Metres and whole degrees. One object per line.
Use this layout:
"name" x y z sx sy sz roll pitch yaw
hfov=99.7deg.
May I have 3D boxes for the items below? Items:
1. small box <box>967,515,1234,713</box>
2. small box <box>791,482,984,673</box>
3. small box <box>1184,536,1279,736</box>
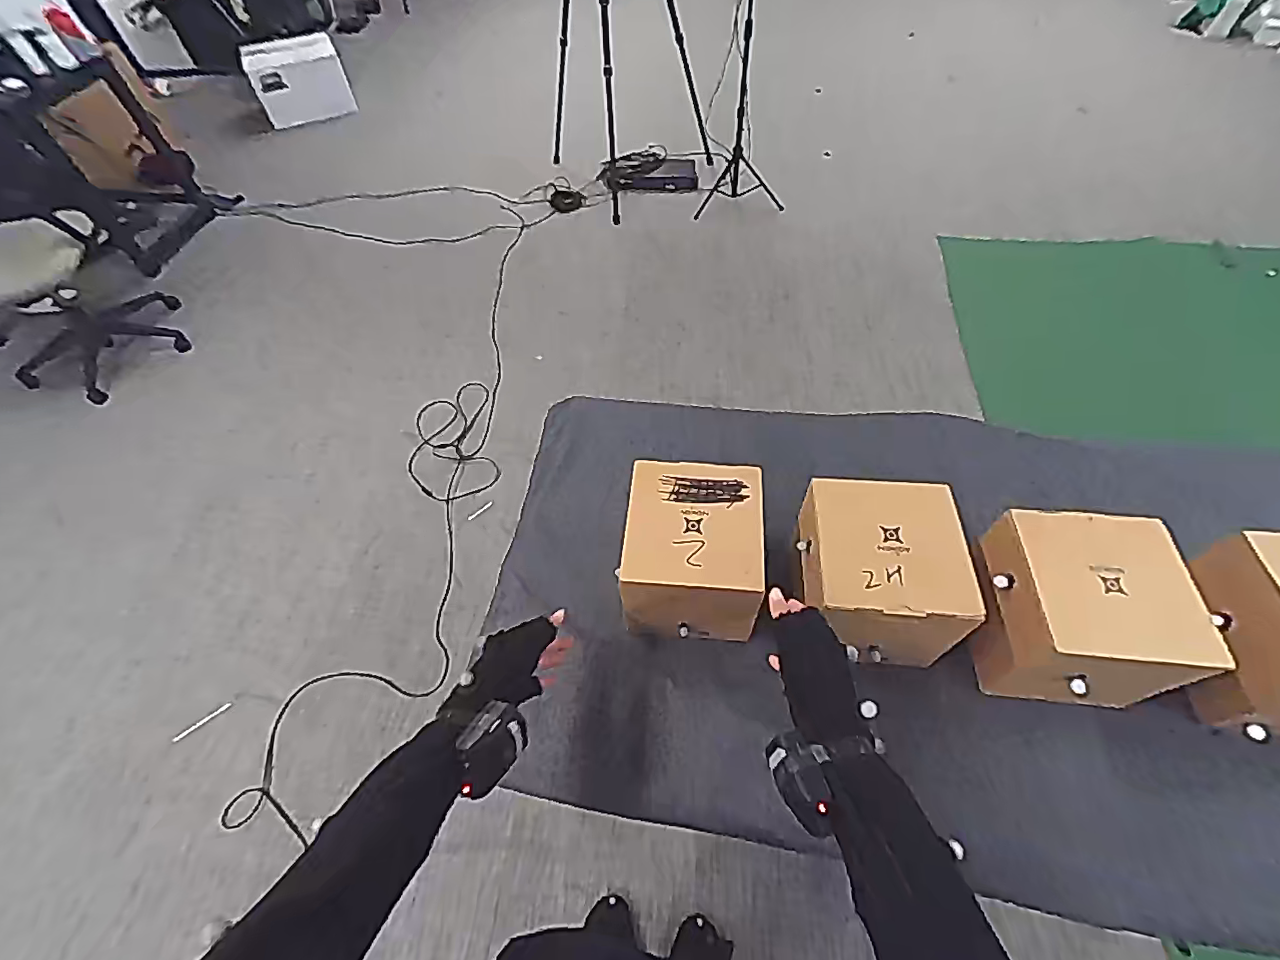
"small box" 0.506 0.162 0.640 0.168 0.176 0.179 4 53 6
"small box" 0.289 0.124 0.680 0.168 0.176 0.179 3 54 6
"small box" 0.743 0.184 0.606 0.168 0.176 0.179 3 53 6
